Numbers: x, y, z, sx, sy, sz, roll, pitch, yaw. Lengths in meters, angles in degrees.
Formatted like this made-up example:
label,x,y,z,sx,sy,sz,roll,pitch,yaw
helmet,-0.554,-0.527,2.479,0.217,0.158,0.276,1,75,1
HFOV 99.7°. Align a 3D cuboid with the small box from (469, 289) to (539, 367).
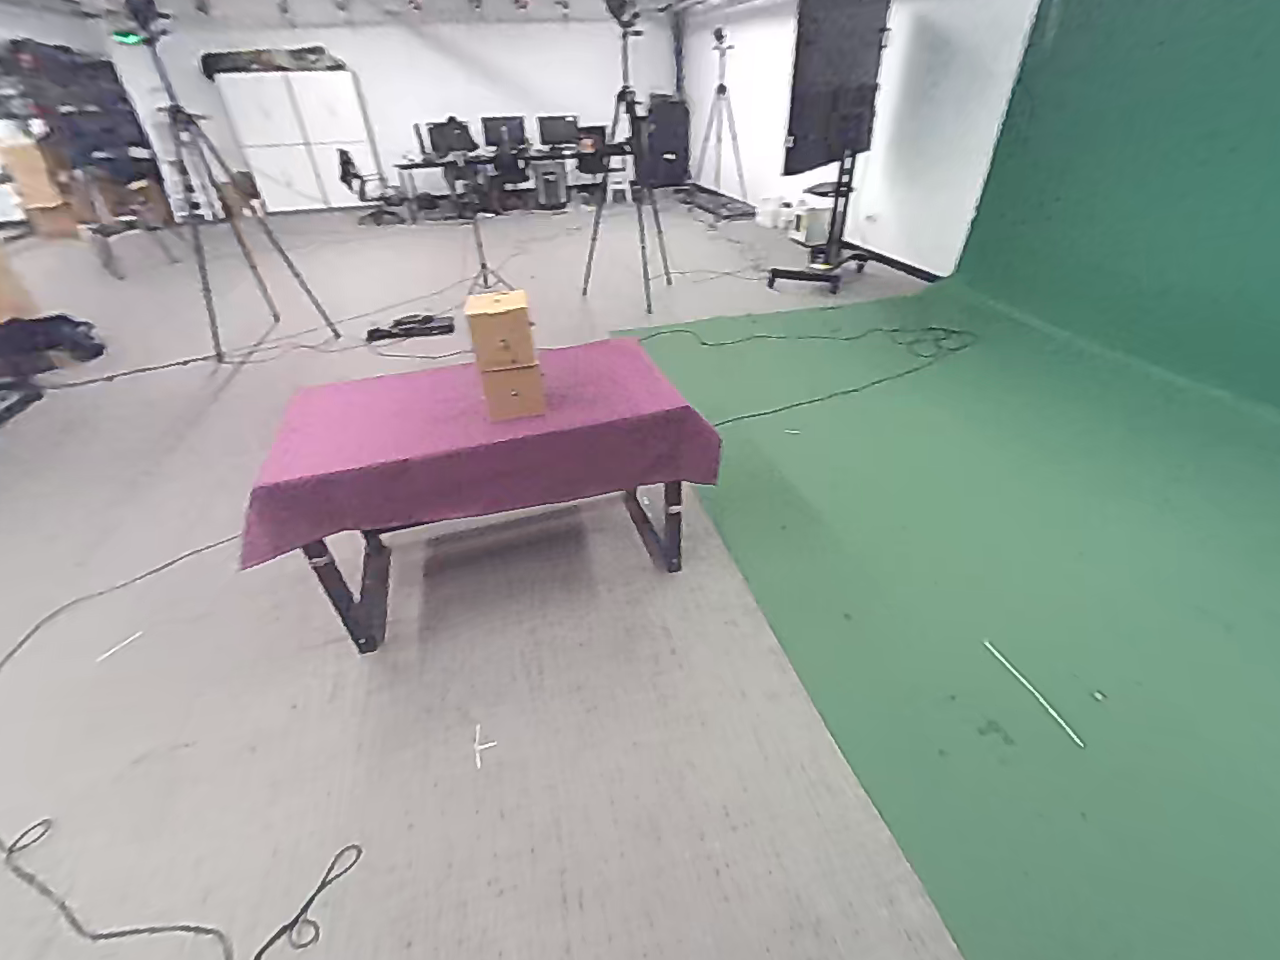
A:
label,x,y,z,sx,sy,sz,roll,pitch,yaw
small box,-0.386,-0.432,1.552,0.168,0.176,0.179,-8,37,-8
